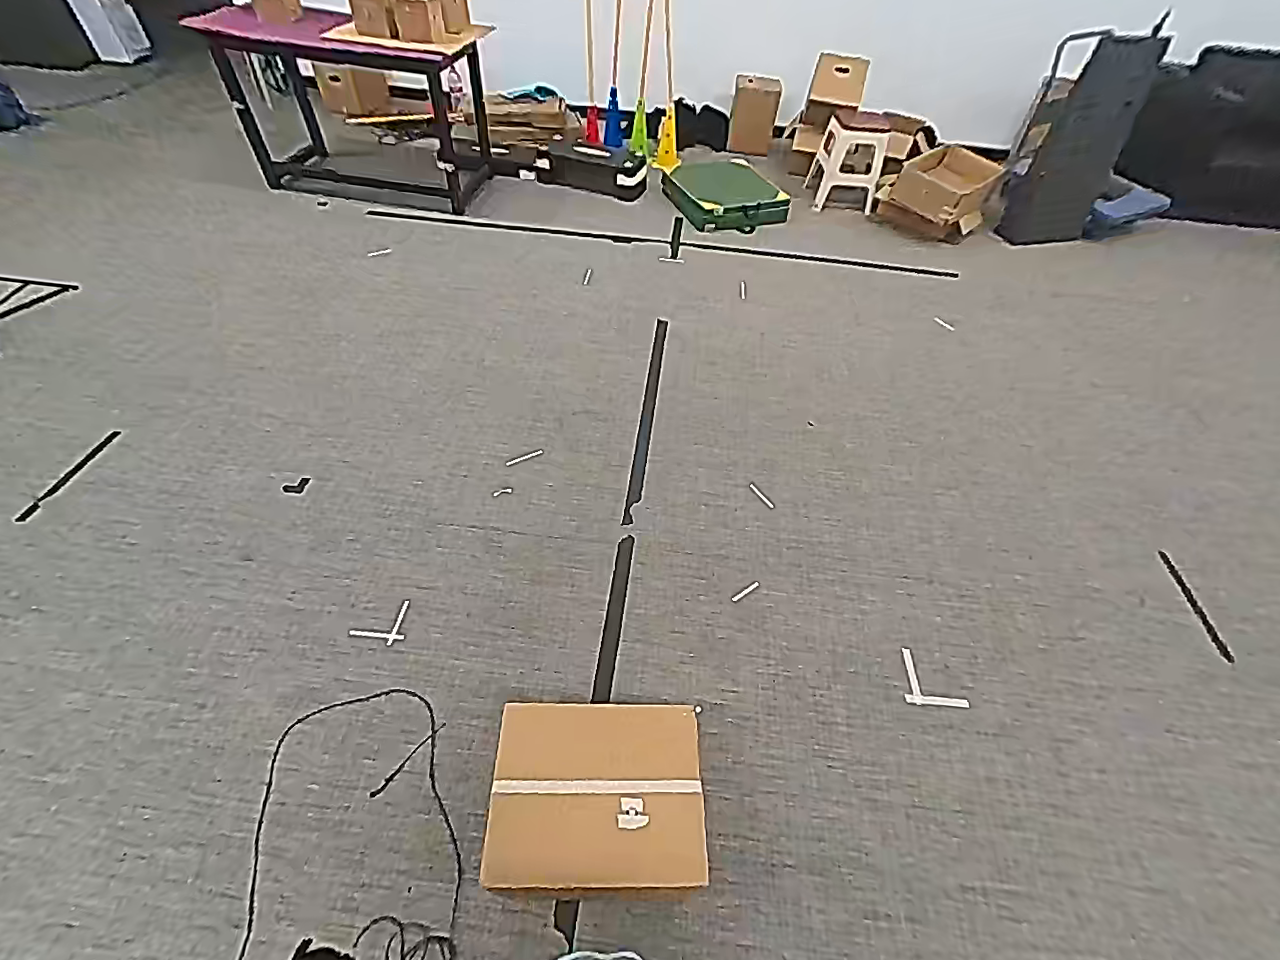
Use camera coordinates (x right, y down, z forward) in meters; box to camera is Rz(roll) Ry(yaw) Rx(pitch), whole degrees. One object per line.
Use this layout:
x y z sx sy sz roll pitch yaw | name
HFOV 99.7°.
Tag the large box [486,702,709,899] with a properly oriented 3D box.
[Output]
-0.088 0.690 1.161 0.408 0.320 0.320 3 49 -4 | large box
